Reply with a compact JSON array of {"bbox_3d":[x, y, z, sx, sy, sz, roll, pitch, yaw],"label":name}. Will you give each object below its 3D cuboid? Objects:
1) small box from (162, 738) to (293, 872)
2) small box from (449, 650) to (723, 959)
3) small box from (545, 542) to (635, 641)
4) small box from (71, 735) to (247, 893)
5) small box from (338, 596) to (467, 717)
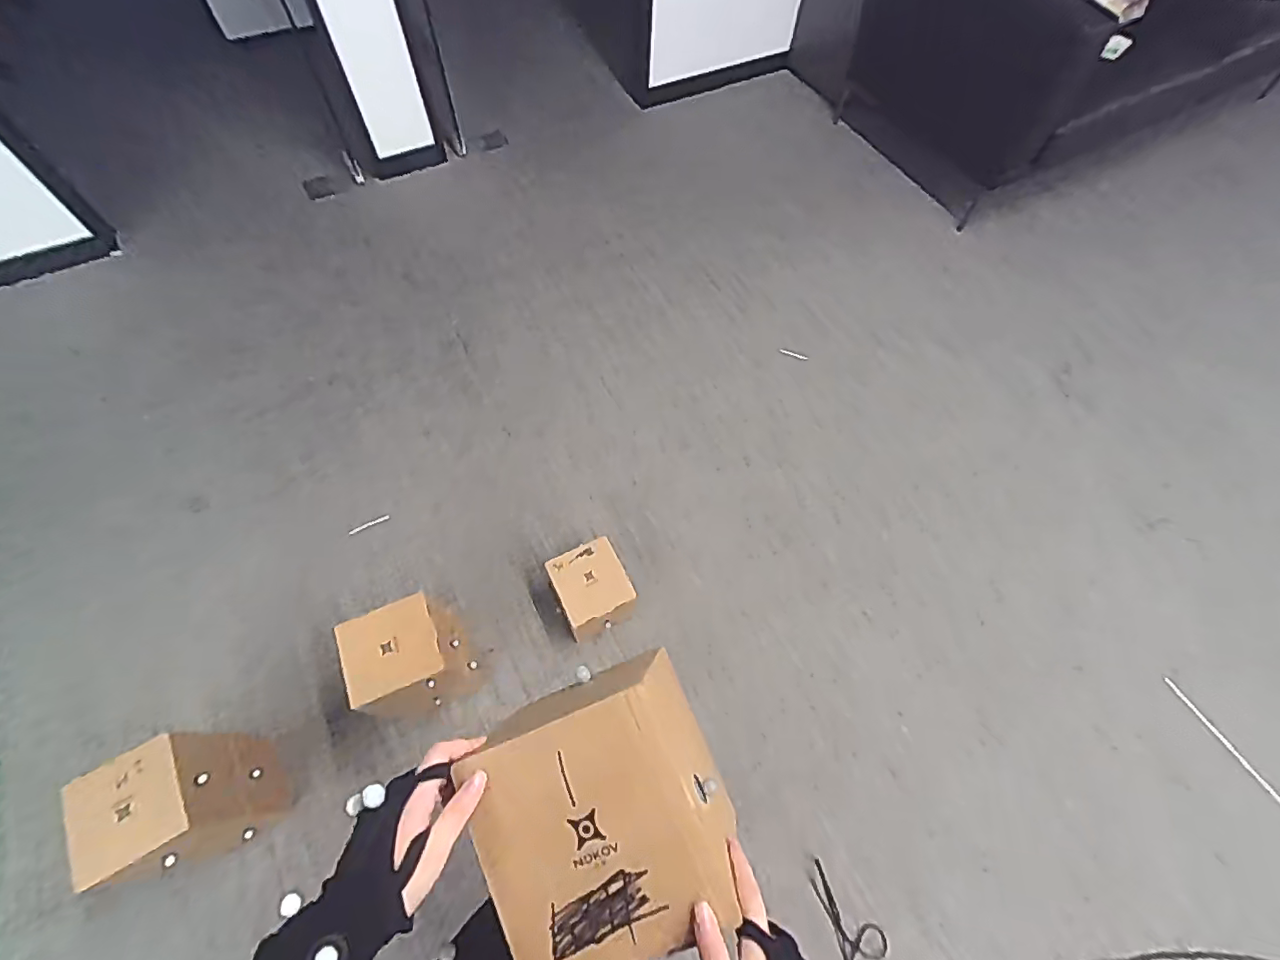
[{"bbox_3d":[-0.857,0.660,1.120,0.168,0.176,0.179,-26,66,-16],"label":"small box"},{"bbox_3d":[-0.033,0.273,0.482,0.168,0.176,0.179,-25,78,4],"label":"small box"},{"bbox_3d":[-0.121,0.285,1.345,0.168,0.176,0.179,-23,66,-14],"label":"small box"},{"bbox_3d":[-0.852,0.587,0.973,0.168,0.176,0.179,-27,66,-17],"label":"small box"},{"bbox_3d":[-0.478,0.365,1.104,0.179,0.176,0.168,-22,65,-13],"label":"small box"}]
